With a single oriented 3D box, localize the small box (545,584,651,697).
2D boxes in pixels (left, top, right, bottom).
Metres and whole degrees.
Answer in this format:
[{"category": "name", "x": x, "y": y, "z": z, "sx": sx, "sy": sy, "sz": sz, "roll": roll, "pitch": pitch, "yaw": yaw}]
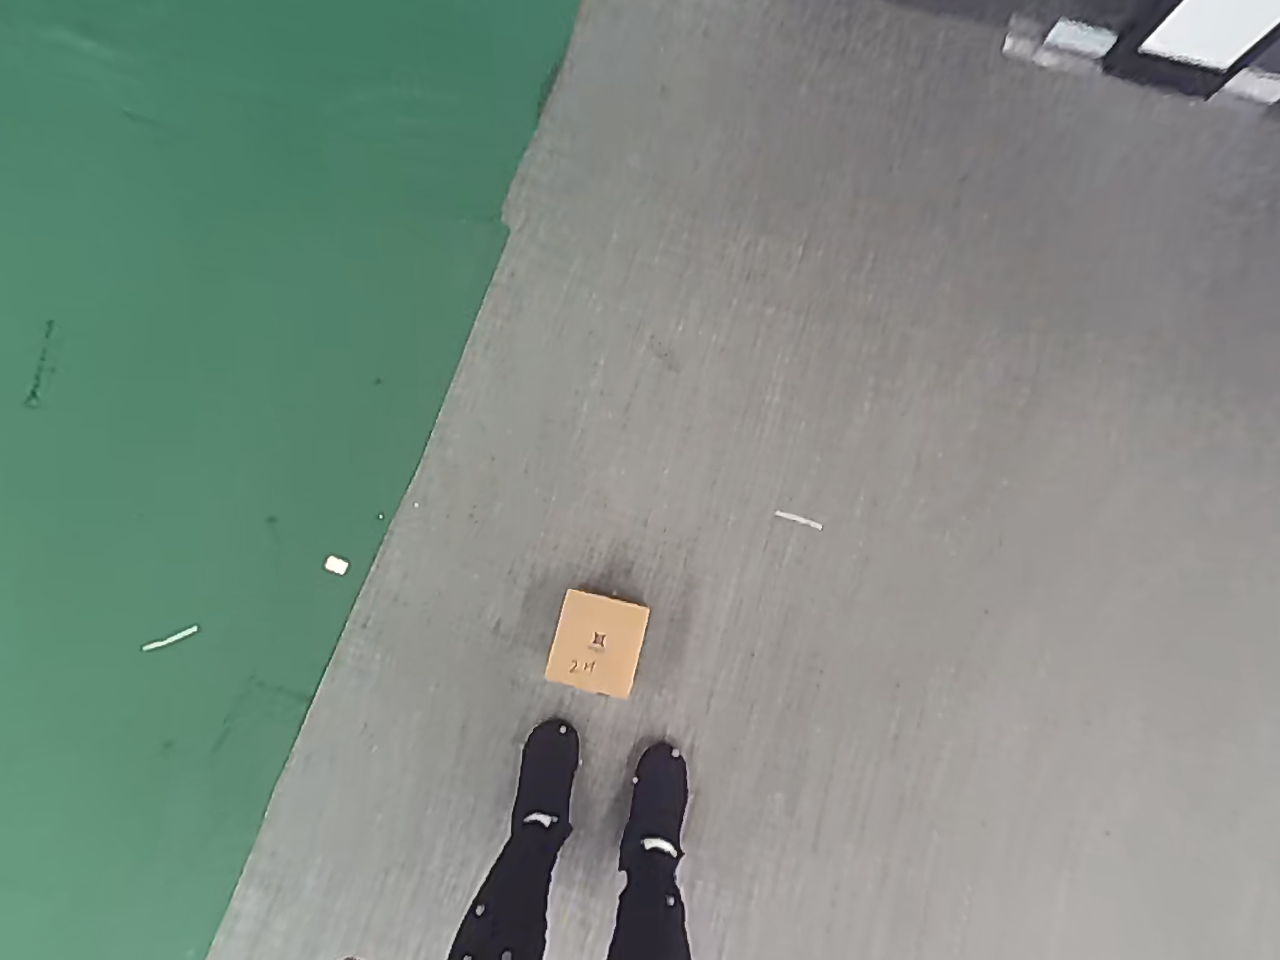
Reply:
[{"category": "small box", "x": -0.079, "y": 0.315, "z": 1.092, "sx": 0.168, "sy": 0.176, "sz": 0.179, "roll": 14, "pitch": 79, "yaw": 2}]
